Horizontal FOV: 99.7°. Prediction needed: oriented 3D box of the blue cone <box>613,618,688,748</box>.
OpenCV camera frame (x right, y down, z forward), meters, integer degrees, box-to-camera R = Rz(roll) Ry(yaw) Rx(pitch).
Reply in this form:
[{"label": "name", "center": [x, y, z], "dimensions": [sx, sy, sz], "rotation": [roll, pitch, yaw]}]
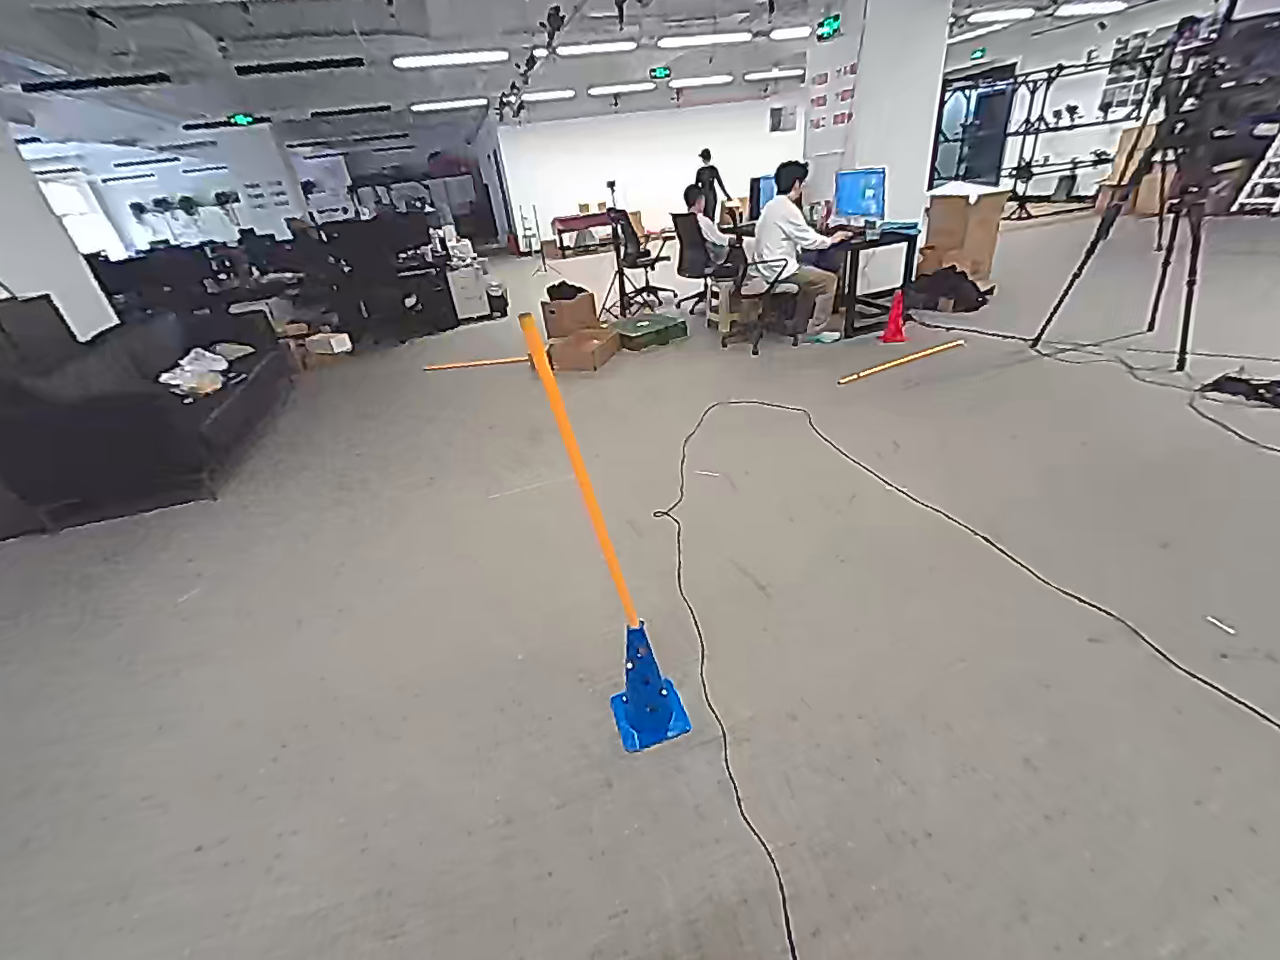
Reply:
[{"label": "blue cone", "center": [0.007, 0.536, 1.493], "dimensions": [0.193, 0.380, 0.192], "rotation": [-17, 30, -13]}]
